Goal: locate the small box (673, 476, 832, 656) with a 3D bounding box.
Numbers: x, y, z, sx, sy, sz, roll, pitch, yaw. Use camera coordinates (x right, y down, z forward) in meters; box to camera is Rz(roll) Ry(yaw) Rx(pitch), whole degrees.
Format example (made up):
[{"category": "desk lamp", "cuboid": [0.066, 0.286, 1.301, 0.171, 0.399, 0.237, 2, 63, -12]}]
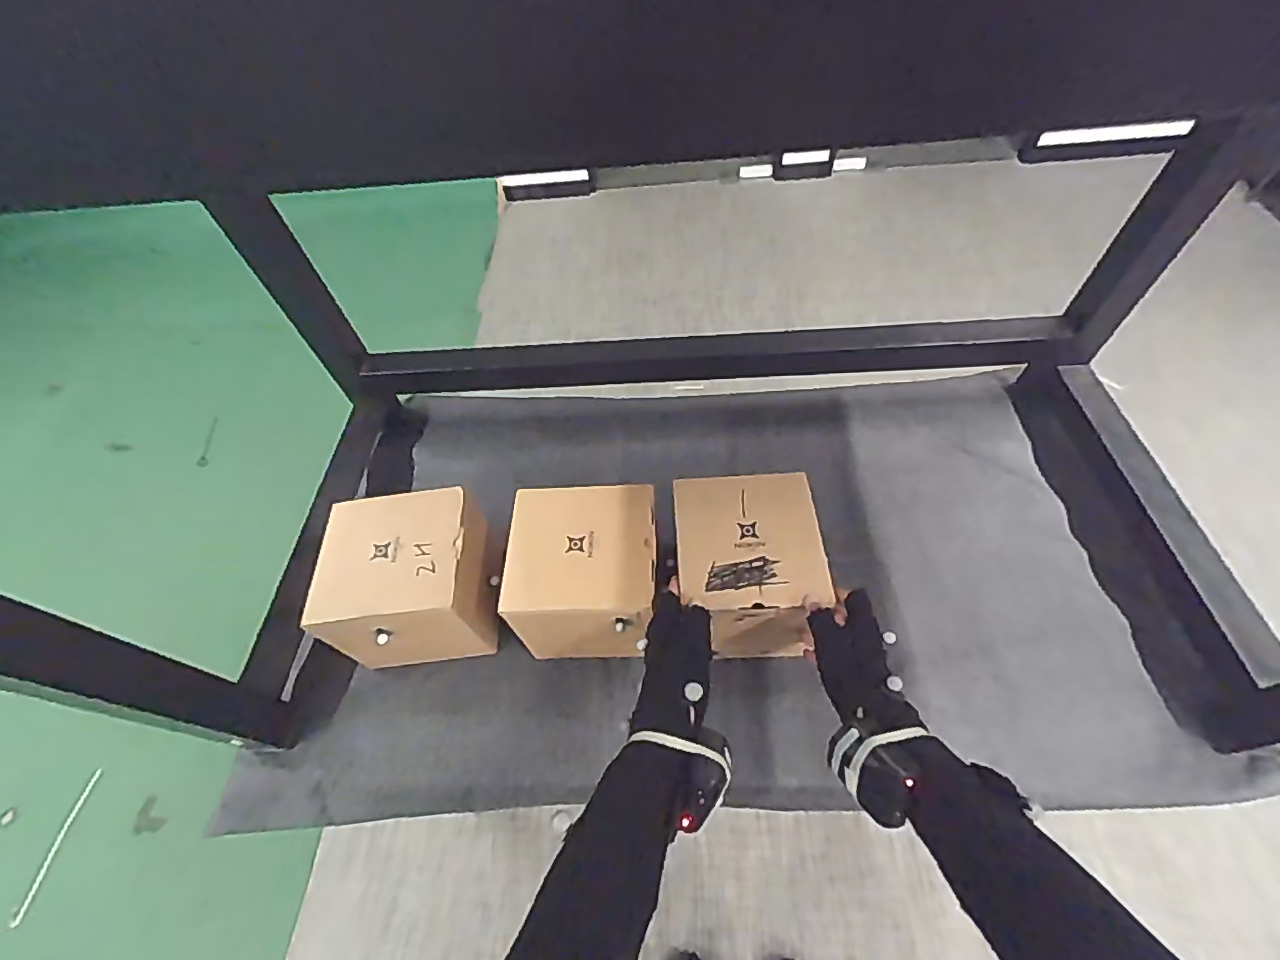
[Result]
[{"category": "small box", "cuboid": [0.129, 0.115, 0.681, 0.168, 0.176, 0.179, -3, 54, 4]}]
